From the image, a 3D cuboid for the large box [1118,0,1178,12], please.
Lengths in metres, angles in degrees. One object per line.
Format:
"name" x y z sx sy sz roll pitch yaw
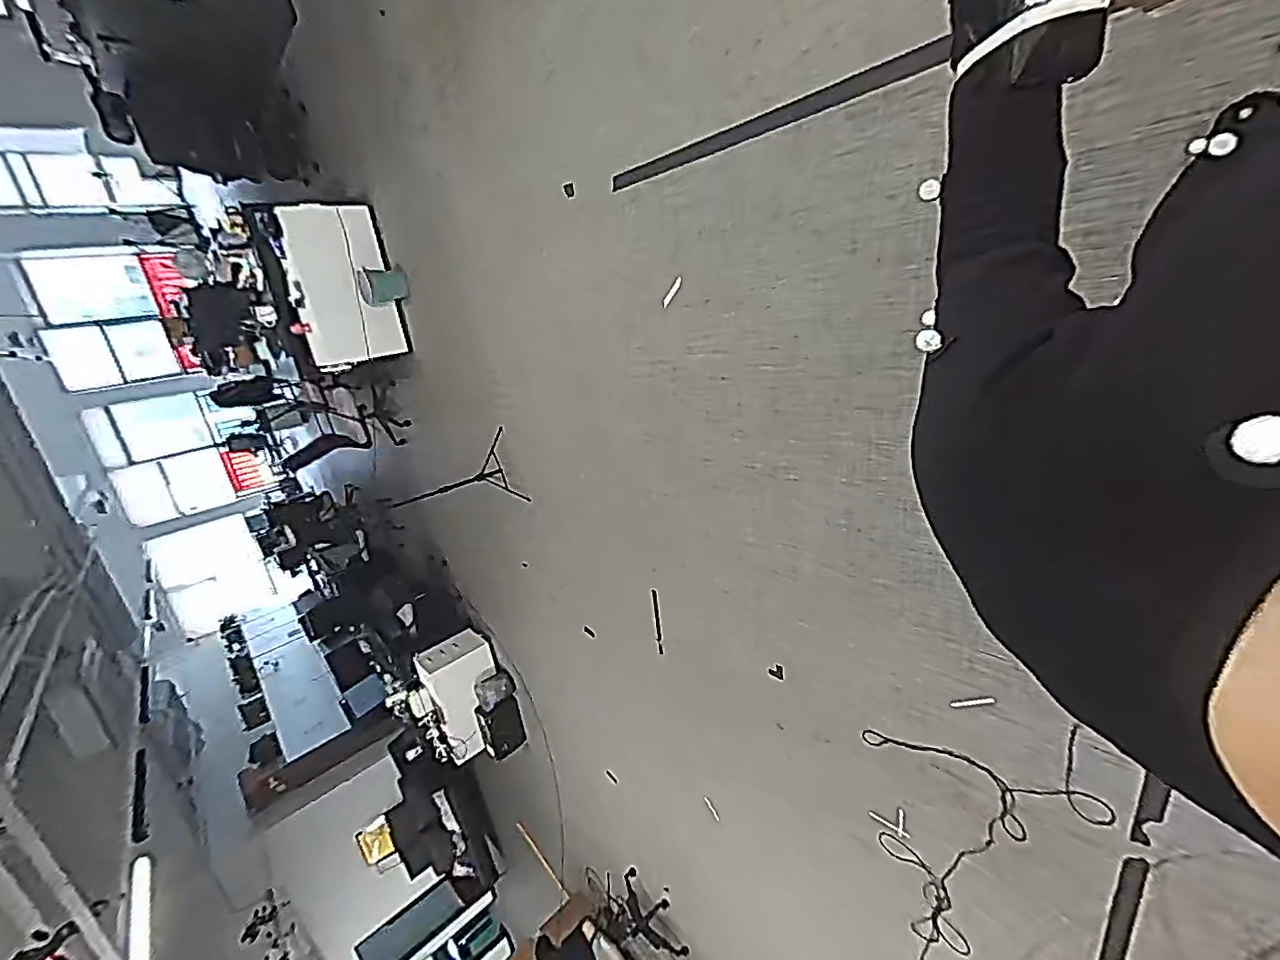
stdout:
"large box" 0.476 -0.529 0.257 0.408 0.320 0.320 4 119 49
